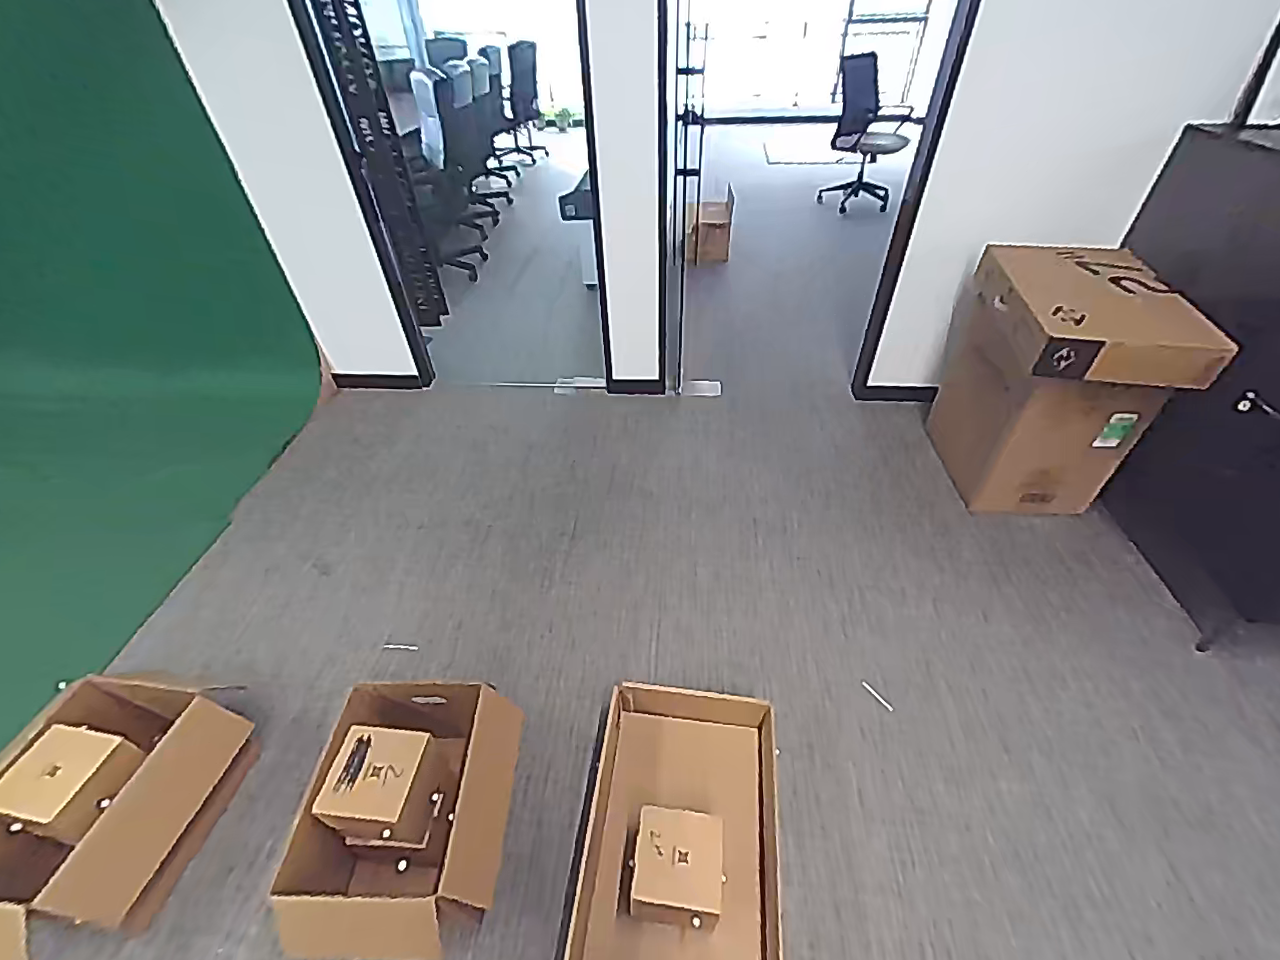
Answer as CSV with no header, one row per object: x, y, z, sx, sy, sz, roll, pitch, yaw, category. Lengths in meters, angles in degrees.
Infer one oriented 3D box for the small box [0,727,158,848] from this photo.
-1.192,0.650,1.139,0.179,0.176,0.168,6,42,7,small box
